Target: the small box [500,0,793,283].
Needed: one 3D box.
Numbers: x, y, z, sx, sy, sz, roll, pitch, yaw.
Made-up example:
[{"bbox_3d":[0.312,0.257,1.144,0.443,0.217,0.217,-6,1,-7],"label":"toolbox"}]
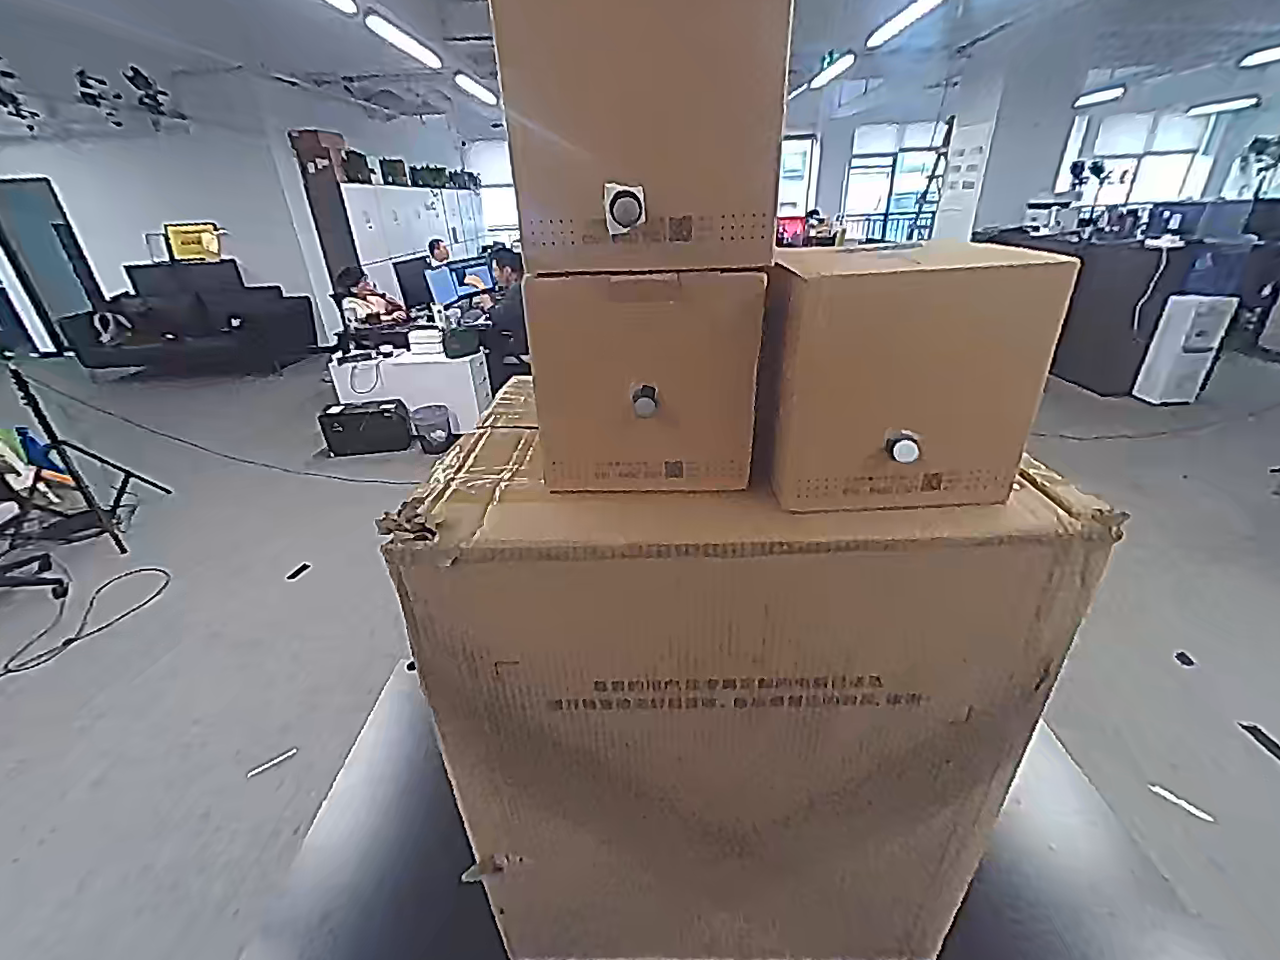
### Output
[{"bbox_3d":[0.005,-0.246,0.399,0.168,0.176,0.179,-2,29,2],"label":"small box"}]
